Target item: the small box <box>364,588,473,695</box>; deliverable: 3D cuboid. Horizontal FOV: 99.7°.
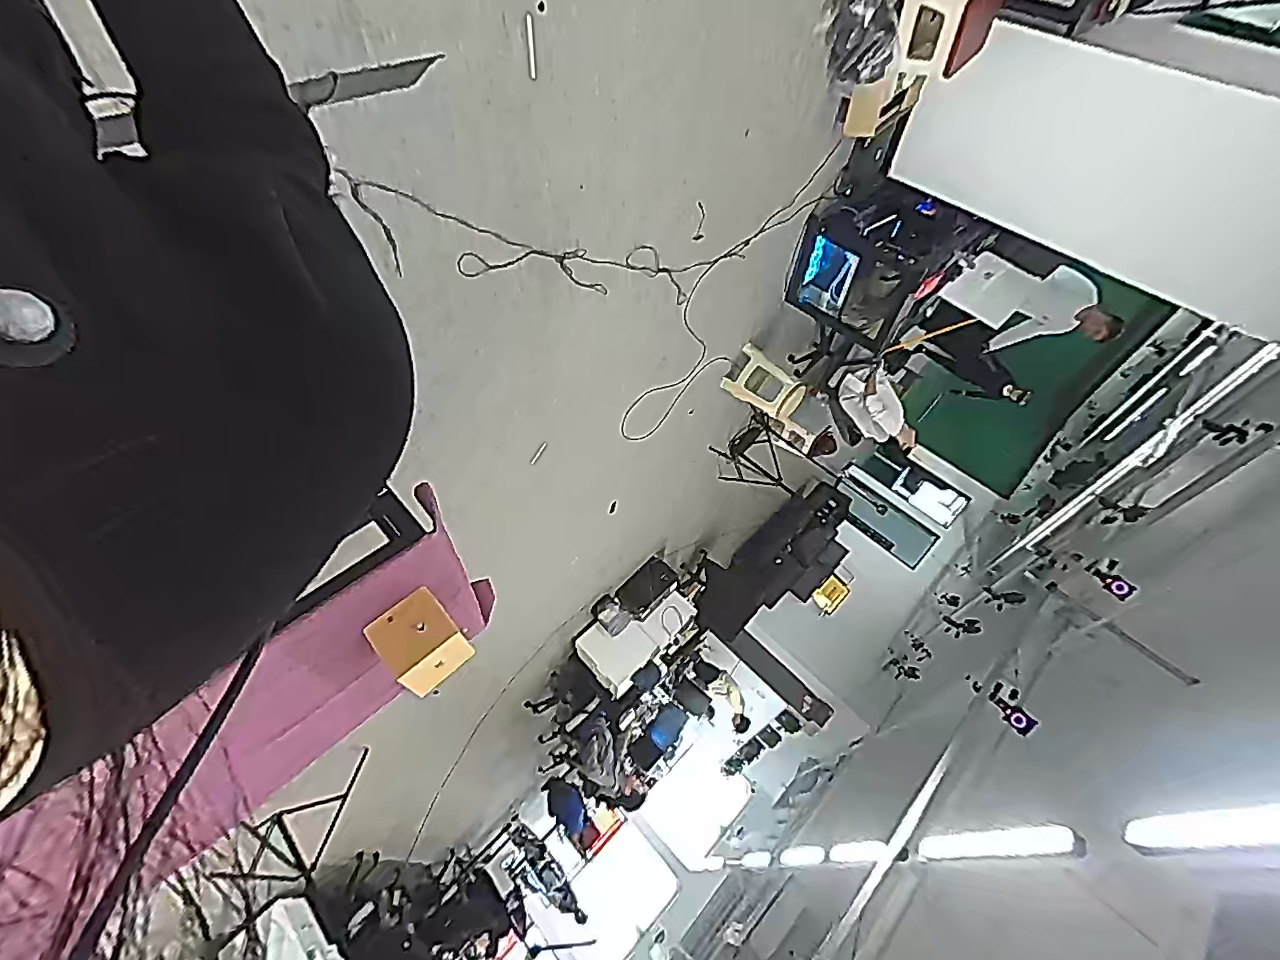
[{"bbox_3d":[-0.550,0.397,1.349,0.168,0.176,0.179,-39,156,-23],"label":"small box"}]
